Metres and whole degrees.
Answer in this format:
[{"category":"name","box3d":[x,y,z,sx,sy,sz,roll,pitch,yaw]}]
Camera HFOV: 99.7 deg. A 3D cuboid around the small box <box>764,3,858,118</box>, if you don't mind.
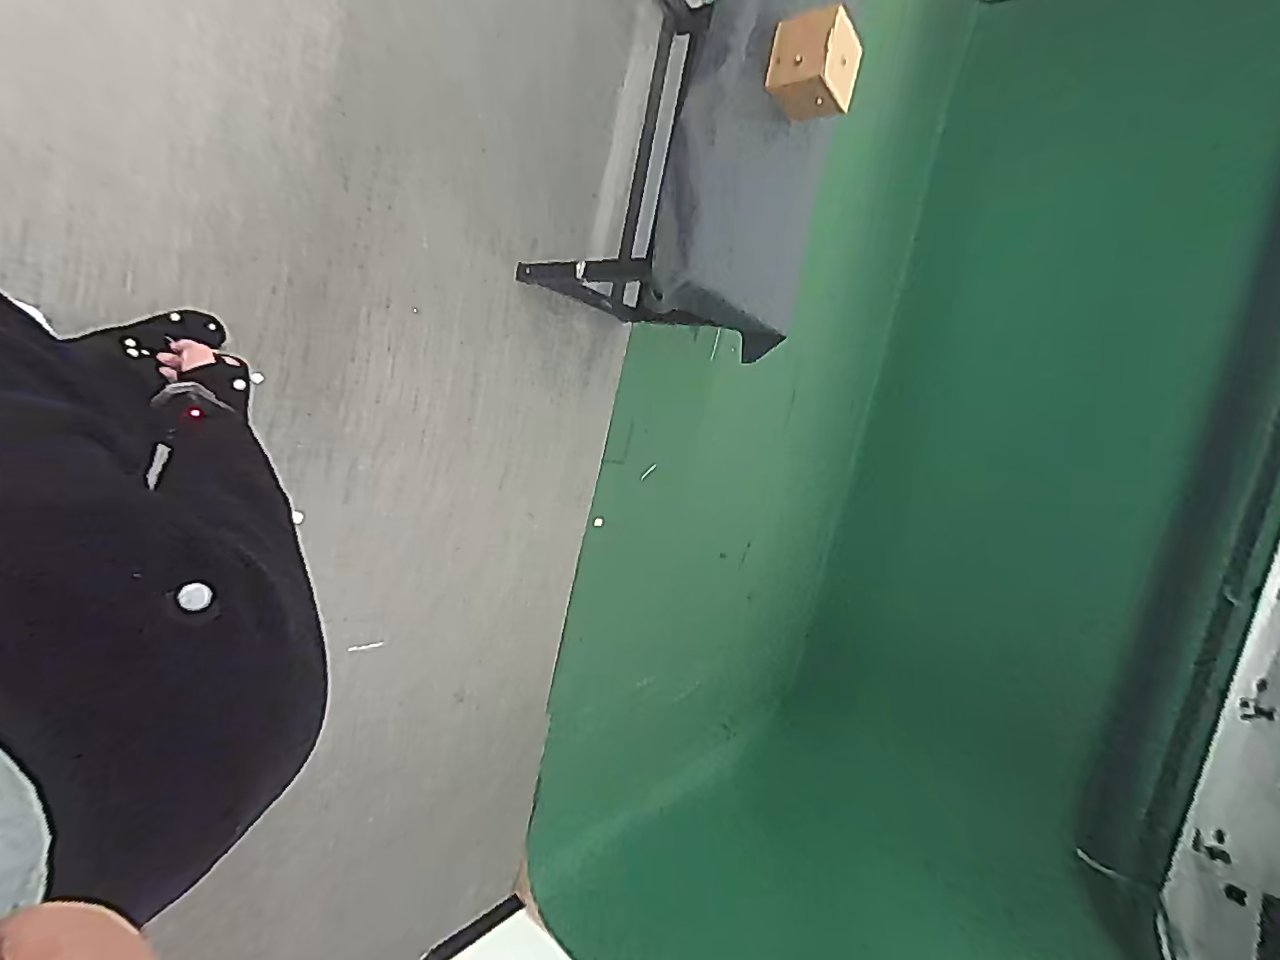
[{"category":"small box","box3d":[0.449,-1.090,1.427,0.179,0.176,0.168,3,103,-52]}]
